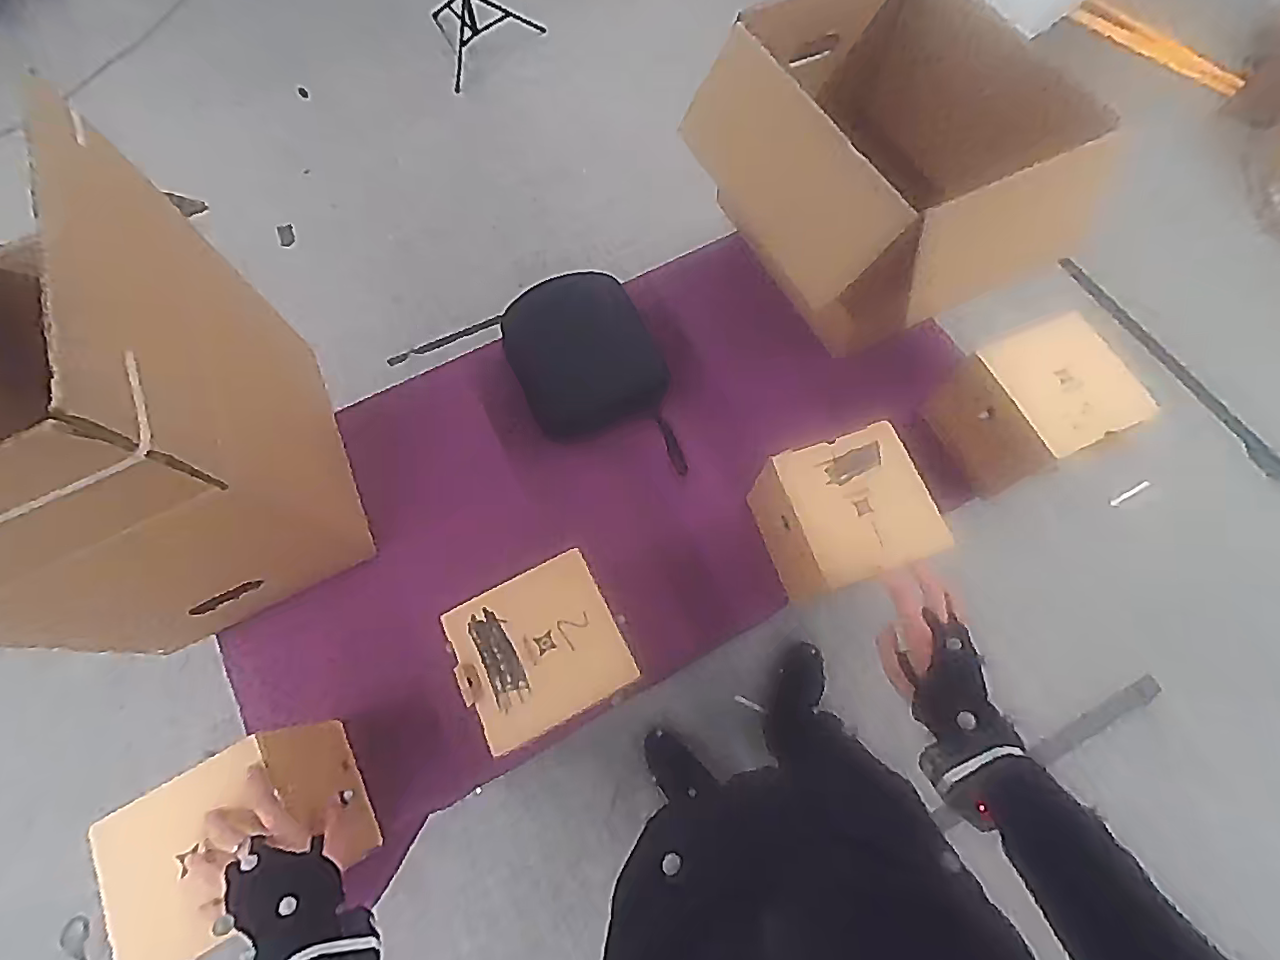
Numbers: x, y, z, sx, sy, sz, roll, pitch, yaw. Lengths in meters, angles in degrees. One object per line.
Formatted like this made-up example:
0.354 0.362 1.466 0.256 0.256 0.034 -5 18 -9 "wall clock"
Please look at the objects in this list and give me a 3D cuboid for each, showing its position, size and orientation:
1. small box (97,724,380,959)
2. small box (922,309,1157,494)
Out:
-0.435 0.401 0.612 0.179 0.176 0.168 -29 72 -11 "small box"
0.550 -0.104 0.777 0.168 0.176 0.179 -22 71 -6 "small box"
